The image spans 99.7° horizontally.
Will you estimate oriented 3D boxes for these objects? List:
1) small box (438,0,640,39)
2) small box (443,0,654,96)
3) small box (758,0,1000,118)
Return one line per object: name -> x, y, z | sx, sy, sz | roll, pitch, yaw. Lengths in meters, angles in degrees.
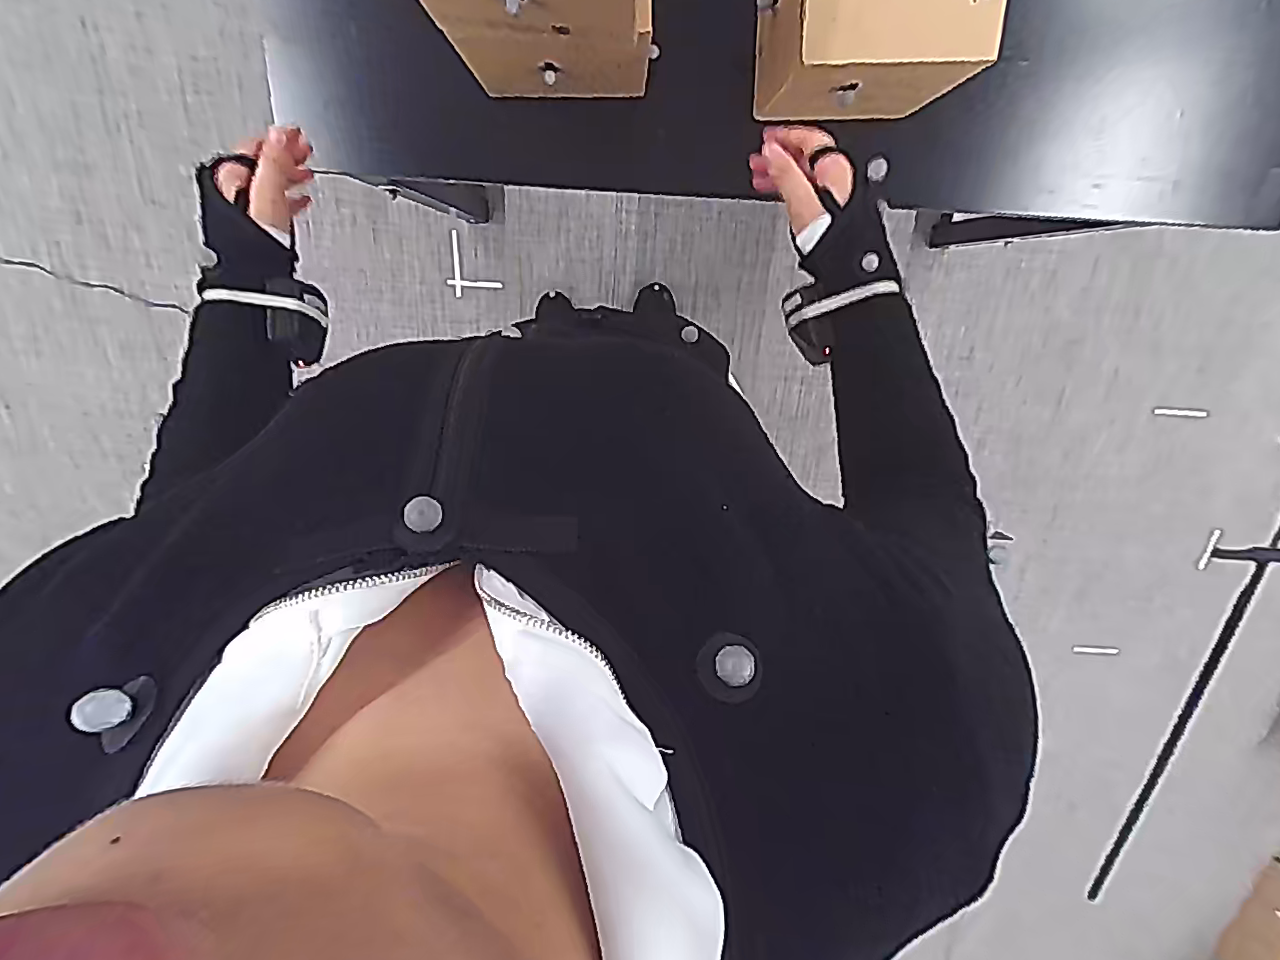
small box -> -0.076, -0.425, 0.348 | 0.168, 0.176, 0.179 | 3, 109, -3
small box -> -0.079, -0.481, 0.503 | 0.179, 0.176, 0.168 | -1, 109, -1
small box -> 0.216, -0.466, 0.519 | 0.179, 0.176, 0.168 | -2, 109, 0
